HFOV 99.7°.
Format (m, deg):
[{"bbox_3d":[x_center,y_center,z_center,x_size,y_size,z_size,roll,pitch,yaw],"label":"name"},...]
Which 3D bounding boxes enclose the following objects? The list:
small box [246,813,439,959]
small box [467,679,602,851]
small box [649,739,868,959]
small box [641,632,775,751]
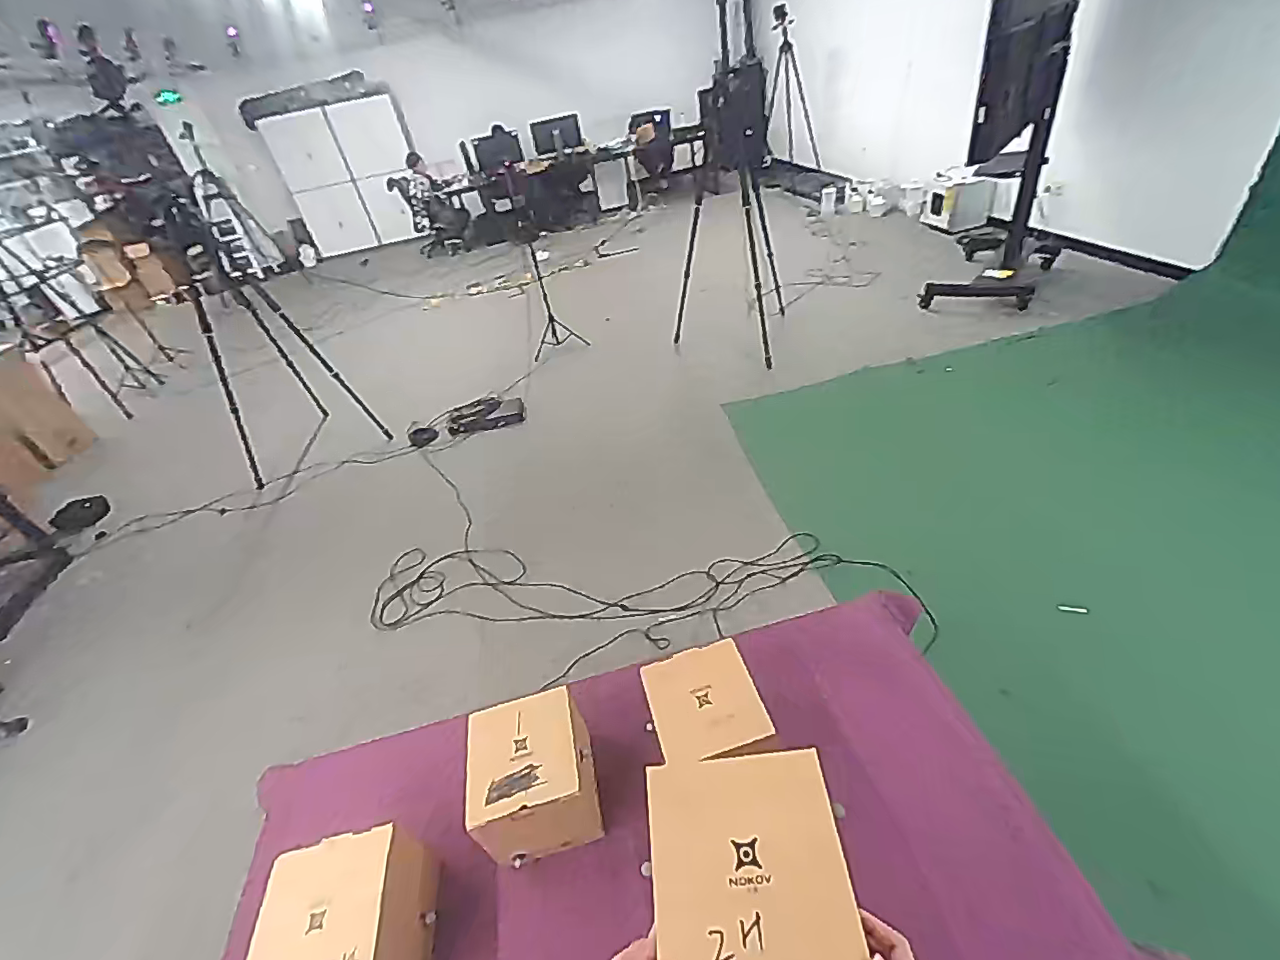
[{"bbox_3d":[-0.393,0.603,0.743,0.168,0.176,0.179,-15,37,-2],"label":"small box"},{"bbox_3d":[-0.165,0.459,0.865,0.168,0.176,0.179,-15,37,-4],"label":"small box"},{"bbox_3d":[0.103,0.374,0.522,0.168,0.176,0.179,-9,47,6],"label":"small box"},{"bbox_3d":[0.110,0.387,0.883,0.168,0.176,0.179,-17,39,-4],"label":"small box"}]
